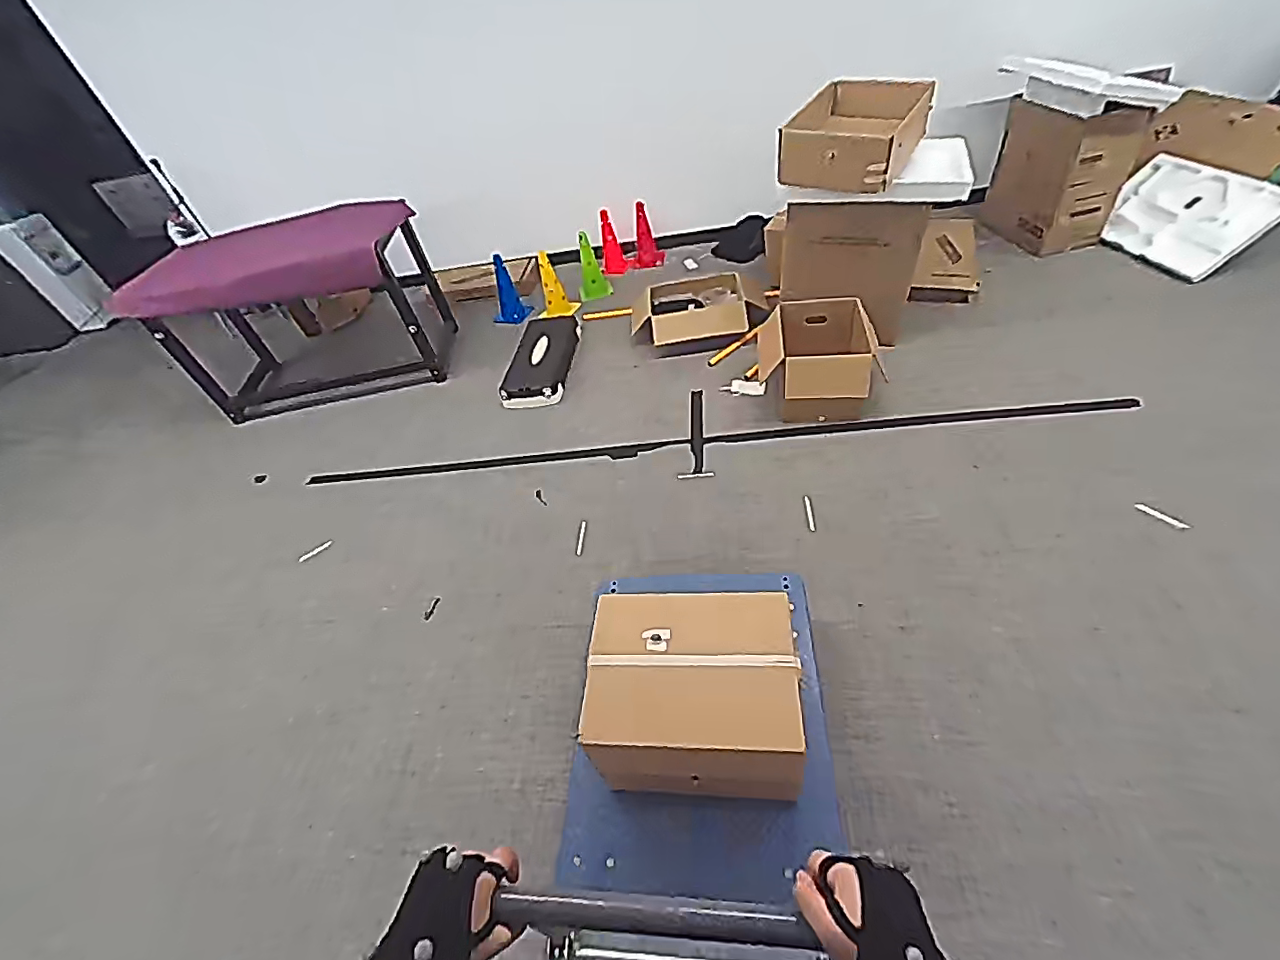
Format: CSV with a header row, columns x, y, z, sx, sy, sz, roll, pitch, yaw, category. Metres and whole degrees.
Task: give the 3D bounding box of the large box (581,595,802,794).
x,y,z,sx,sy,sz,roll,pitch,yaw,category
0.123,0.470,1.174,0.408,0.320,0.320,-4,45,11,large box
